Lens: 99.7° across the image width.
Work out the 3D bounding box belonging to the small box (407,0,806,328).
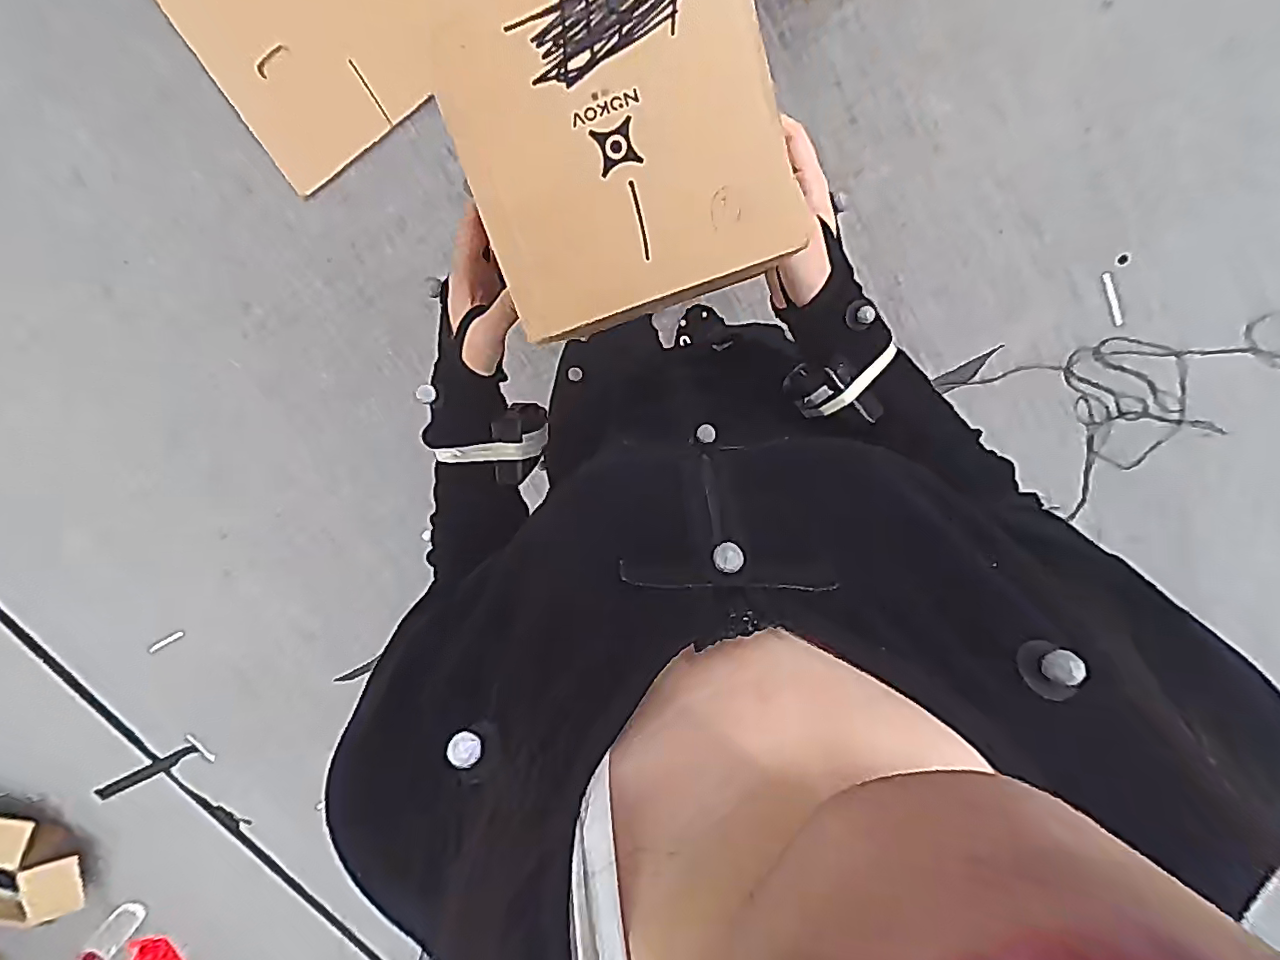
[{"bbox_3d":[-0.011,-0.207,0.351,0.168,0.176,0.179,-17,105,8],"label":"small box"}]
